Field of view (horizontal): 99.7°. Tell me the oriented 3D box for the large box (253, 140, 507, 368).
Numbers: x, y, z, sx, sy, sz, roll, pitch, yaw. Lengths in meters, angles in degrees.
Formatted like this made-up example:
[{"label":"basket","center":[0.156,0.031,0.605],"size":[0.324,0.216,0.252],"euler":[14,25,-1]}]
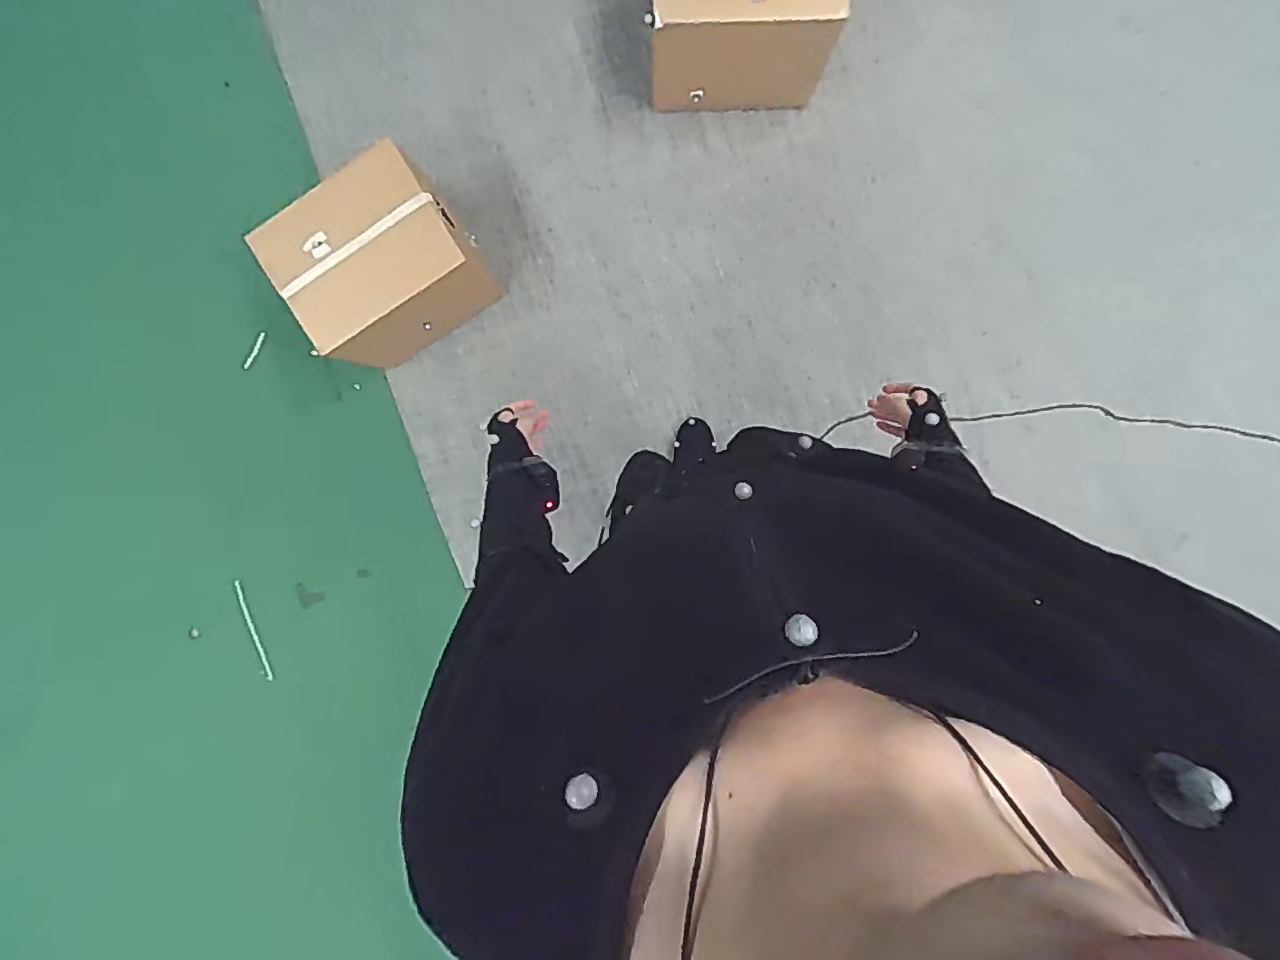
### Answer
[{"label":"large box","center":[-0.612,-0.524,1.343],"size":[0.408,0.320,0.320],"euler":[-31,92,6]}]
